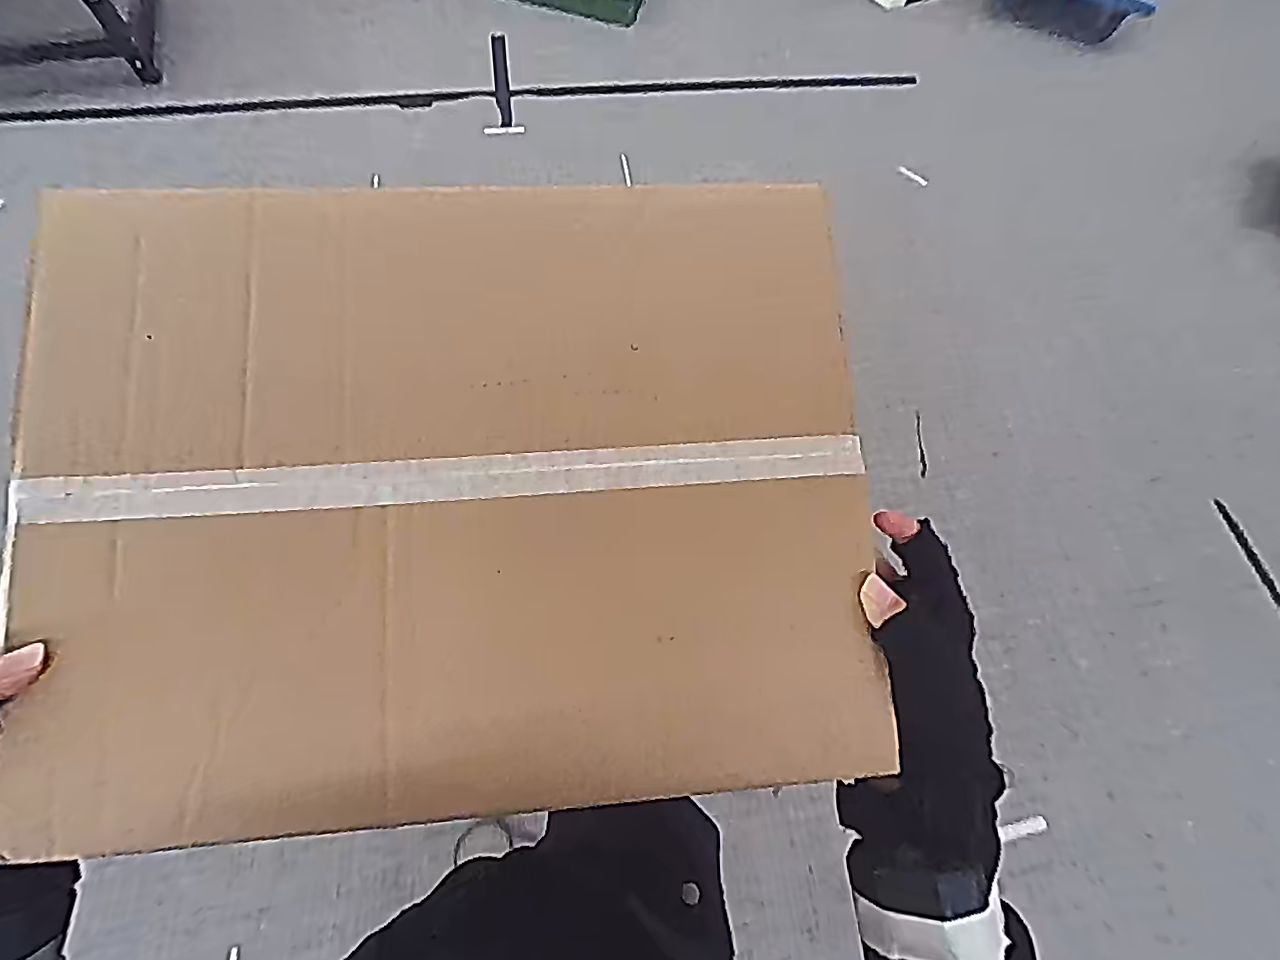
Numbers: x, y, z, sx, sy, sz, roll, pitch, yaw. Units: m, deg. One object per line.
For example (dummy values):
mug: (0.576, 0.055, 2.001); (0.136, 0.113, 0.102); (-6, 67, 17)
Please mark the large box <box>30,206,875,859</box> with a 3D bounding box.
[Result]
large box: (-0.097, 0.026, 0.424); (0.408, 0.320, 0.320); (-3, 81, -5)
